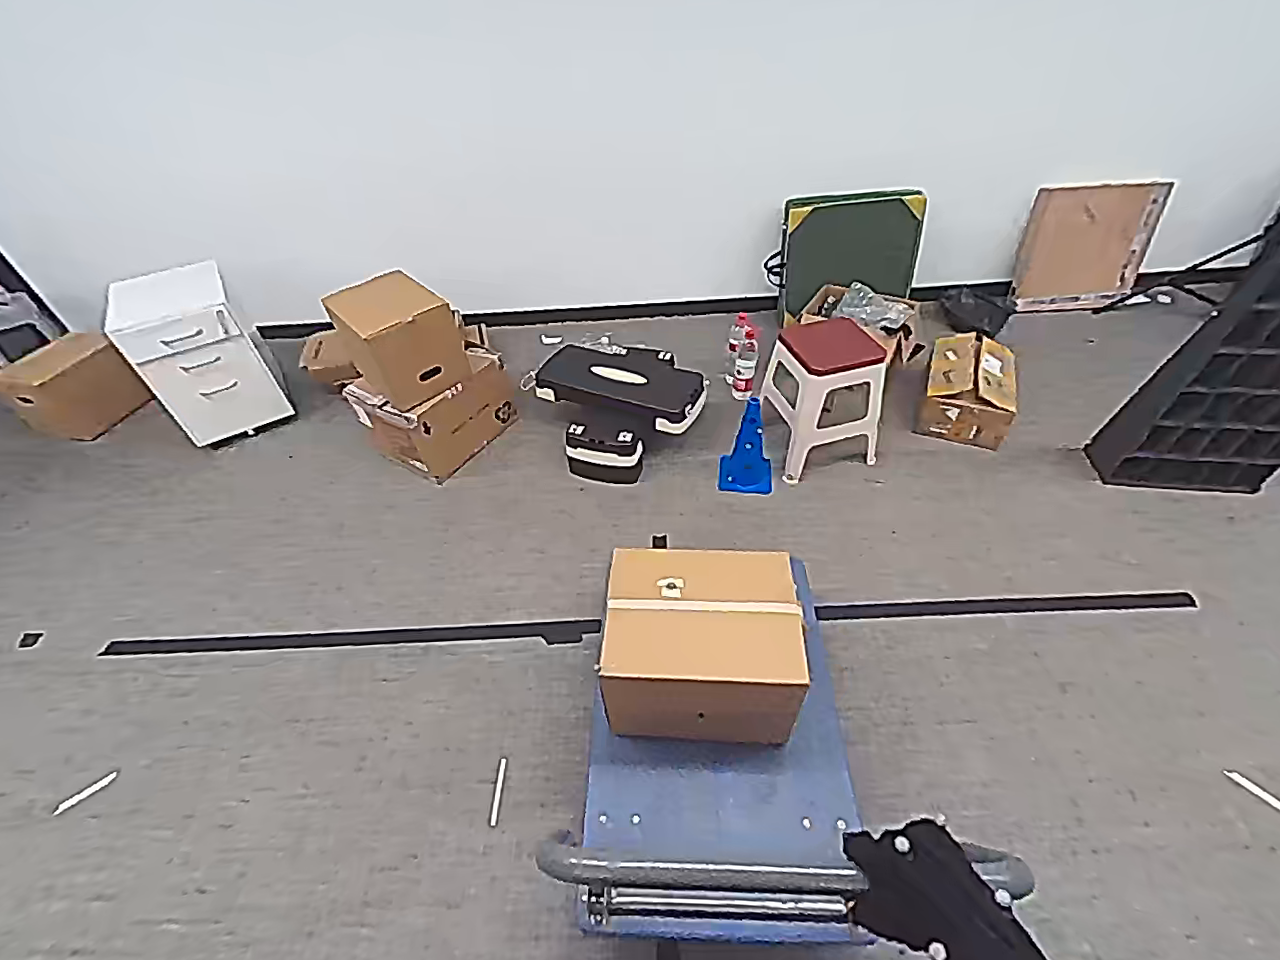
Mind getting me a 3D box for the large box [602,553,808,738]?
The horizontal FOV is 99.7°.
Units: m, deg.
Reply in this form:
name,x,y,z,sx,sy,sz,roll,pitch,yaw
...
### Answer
name,x,y,z,sx,sy,sz,roll,pitch,yaw
large box,0.141,0.384,1.250,0.408,0.320,0.320,0,45,5
